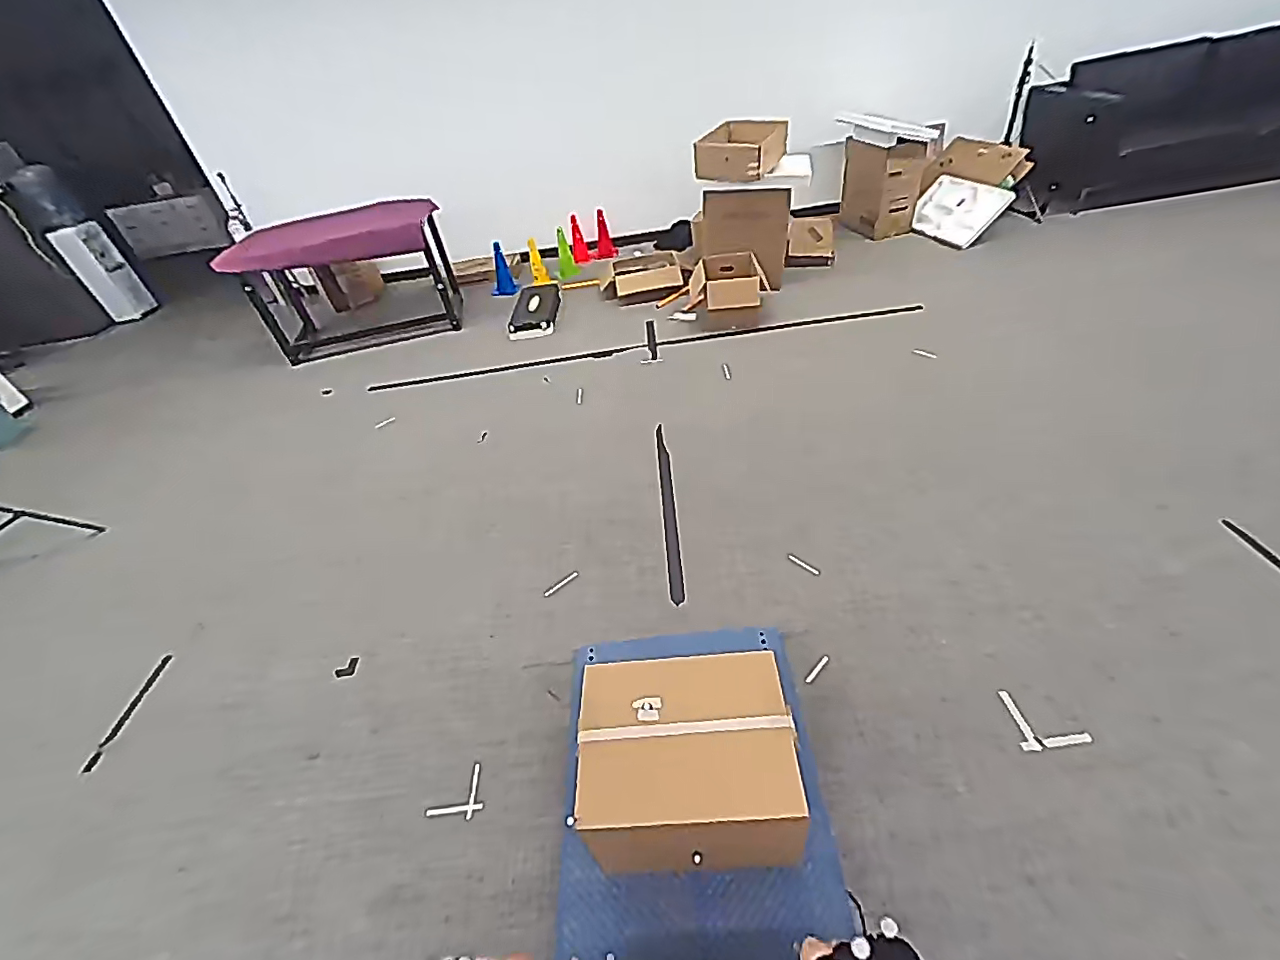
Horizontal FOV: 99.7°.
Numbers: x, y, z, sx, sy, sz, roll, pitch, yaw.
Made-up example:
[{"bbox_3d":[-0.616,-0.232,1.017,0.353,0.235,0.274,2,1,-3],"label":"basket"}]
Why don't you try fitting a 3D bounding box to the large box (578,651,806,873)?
[{"bbox_3d":[0.107,0.599,1.142,0.408,0.320,0.320,-7,40,5],"label":"large box"}]
